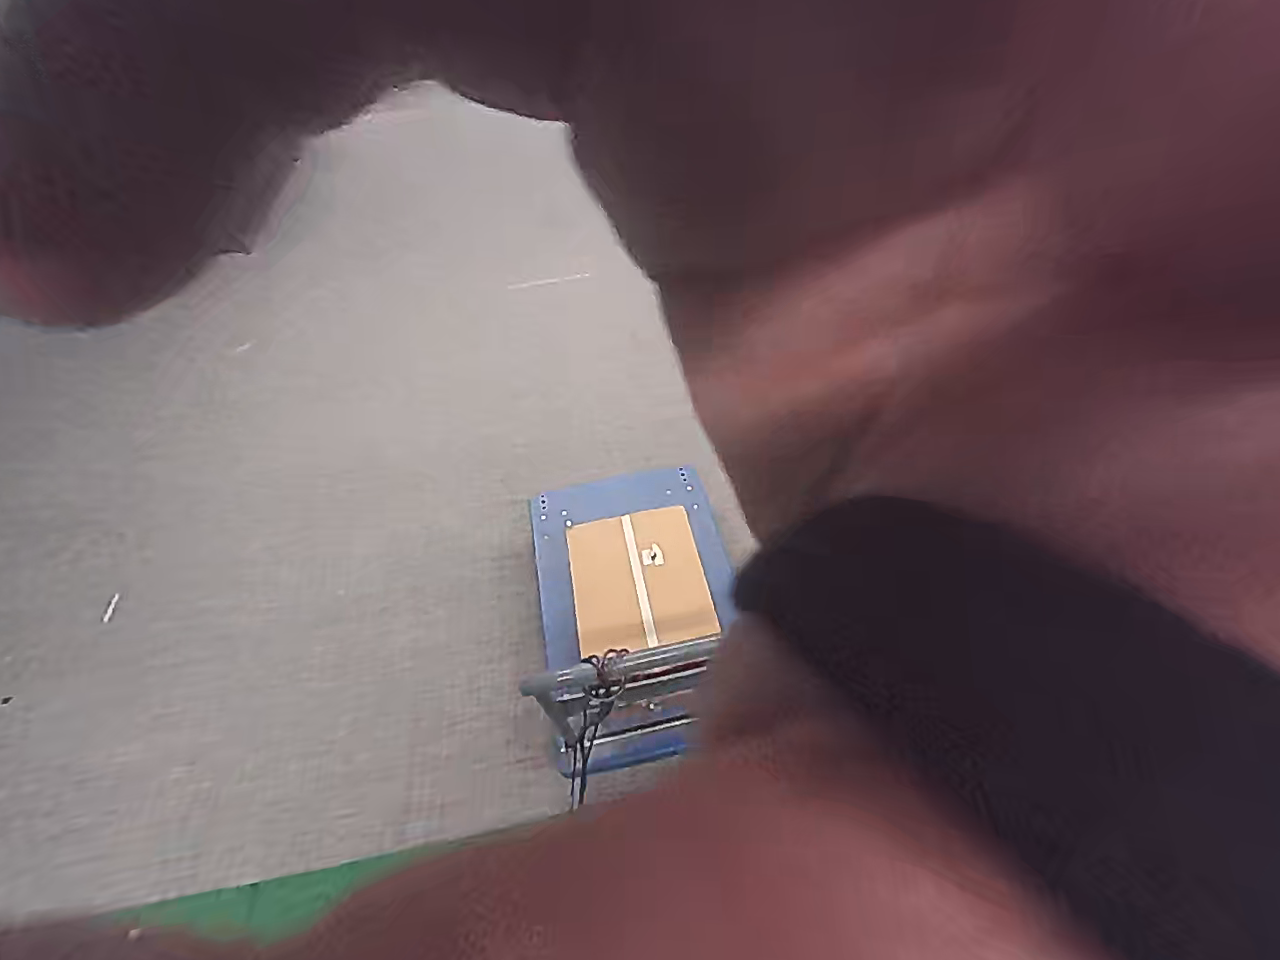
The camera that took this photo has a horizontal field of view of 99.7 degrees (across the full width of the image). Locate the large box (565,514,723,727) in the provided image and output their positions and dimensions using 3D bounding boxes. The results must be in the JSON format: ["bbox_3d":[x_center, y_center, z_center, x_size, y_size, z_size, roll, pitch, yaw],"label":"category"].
[{"bbox_3d":[0.002,0.359,1.391,0.320,0.320,0.408,-10,51,-5],"label":"large box"}]
